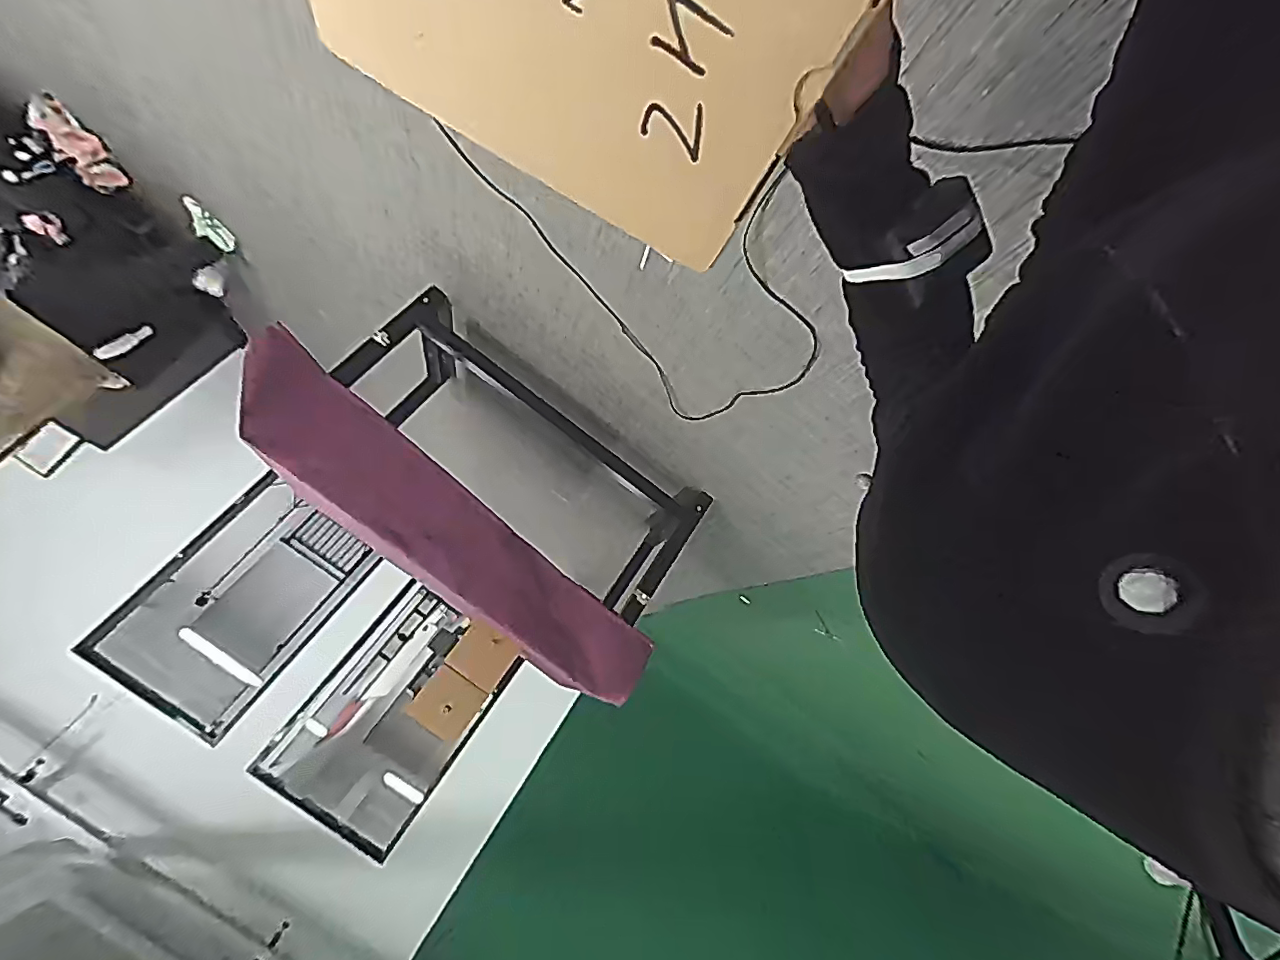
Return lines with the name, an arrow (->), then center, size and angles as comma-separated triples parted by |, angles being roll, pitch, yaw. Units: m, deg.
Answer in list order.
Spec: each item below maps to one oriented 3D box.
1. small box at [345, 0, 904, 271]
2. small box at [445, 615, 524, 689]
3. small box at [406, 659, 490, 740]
small box -> 0.015, -0.223, 0.189 | 0.179, 0.176, 0.168 | 28, 158, -8
small box -> -0.499, 0.548, 1.740 | 0.179, 0.176, 0.168 | 37, 156, -1
small box -> -0.589, 0.669, 1.673 | 0.179, 0.176, 0.168 | 36, 156, -2
